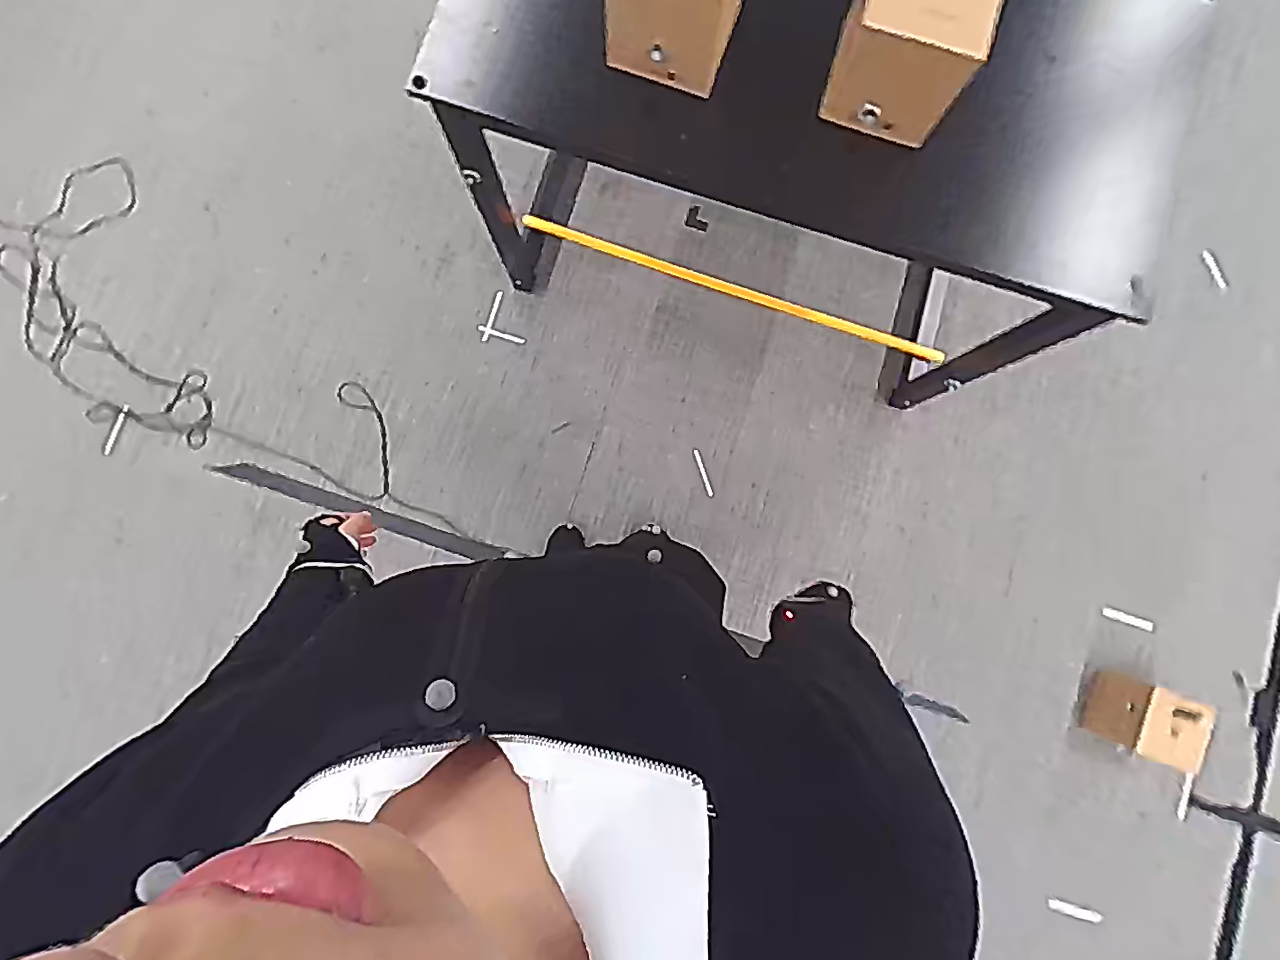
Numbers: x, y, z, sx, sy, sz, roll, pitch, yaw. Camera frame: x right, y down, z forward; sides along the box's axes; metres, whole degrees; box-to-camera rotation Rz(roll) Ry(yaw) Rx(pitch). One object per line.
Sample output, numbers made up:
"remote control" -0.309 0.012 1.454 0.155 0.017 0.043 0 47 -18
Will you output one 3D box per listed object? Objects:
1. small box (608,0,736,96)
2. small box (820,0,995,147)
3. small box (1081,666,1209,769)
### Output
"small box" 0.053 -0.713 0.777 0.168 0.176 0.179 19 85 0
"small box" 0.381 -0.635 0.784 0.168 0.176 0.179 16 85 1
"small box" 1.327 0.617 1.434 0.168 0.176 0.179 22 85 0
